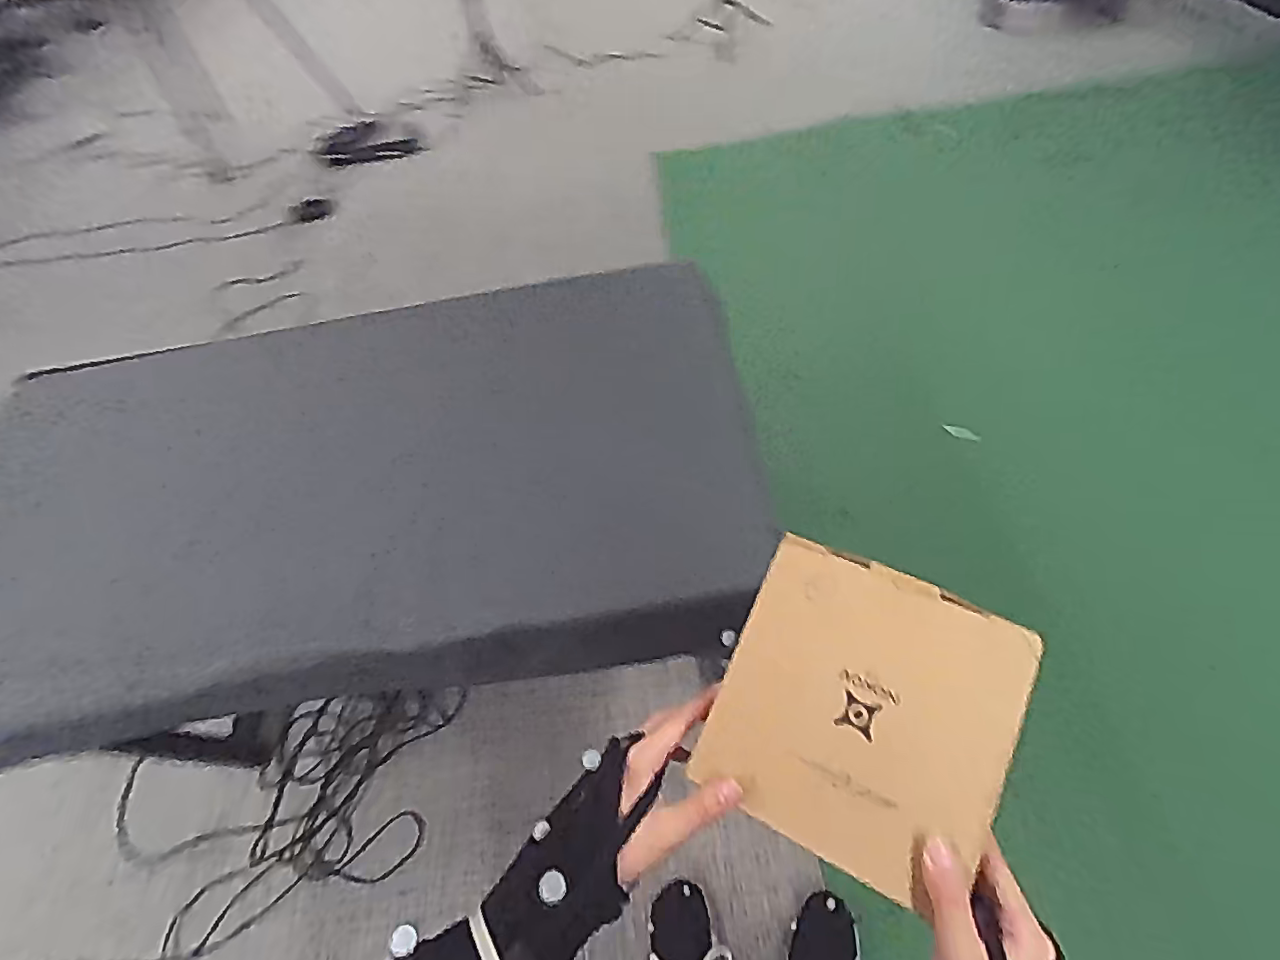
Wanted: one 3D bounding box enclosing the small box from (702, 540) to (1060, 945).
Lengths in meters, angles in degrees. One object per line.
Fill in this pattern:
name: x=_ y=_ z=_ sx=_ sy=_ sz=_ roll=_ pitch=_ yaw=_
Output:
small box: x=0.161 y=0.171 z=0.406 sx=0.168 sy=0.176 sz=0.179 roll=23 pitch=78 yaw=19
